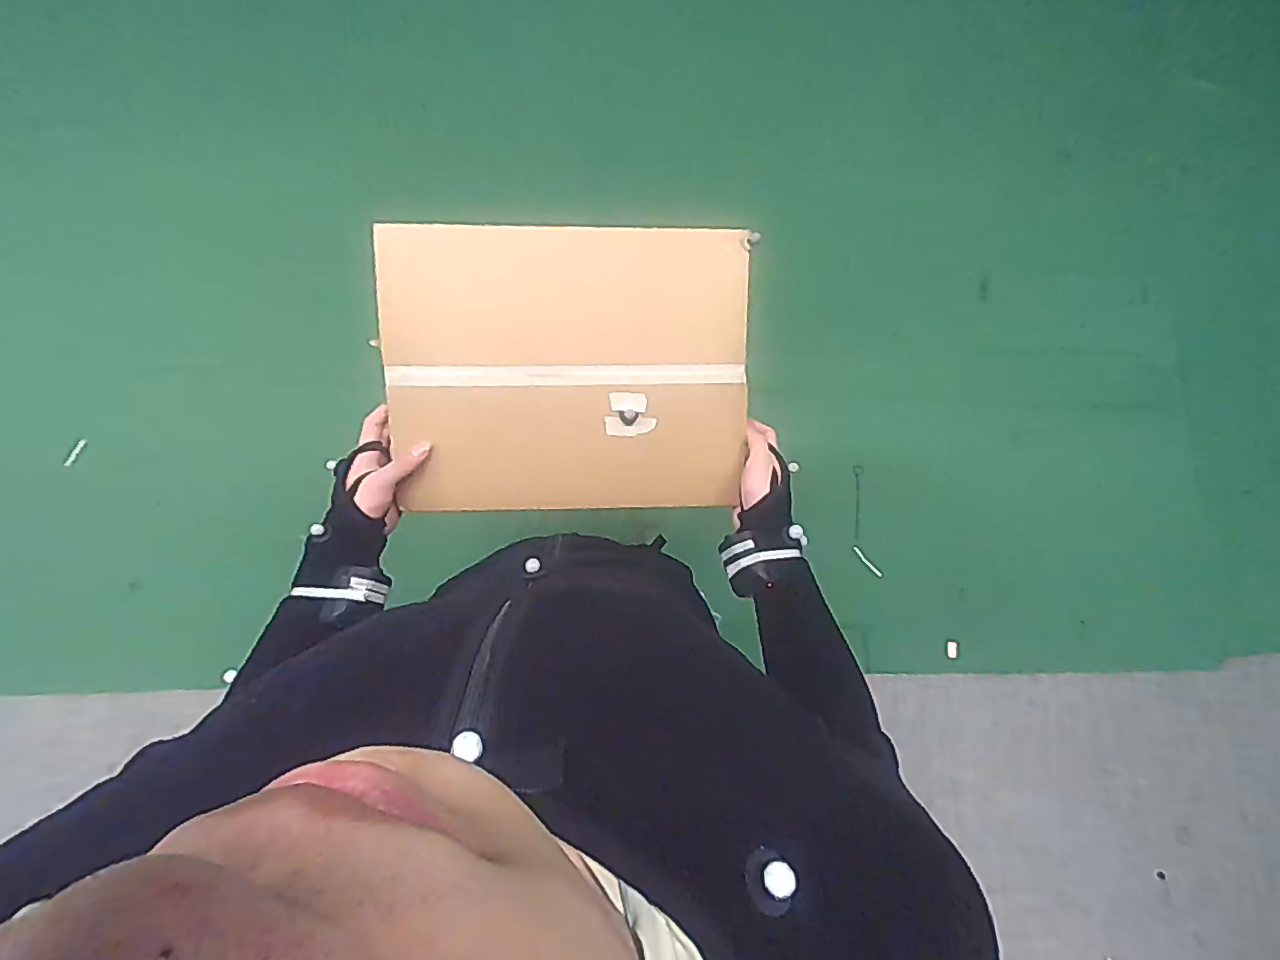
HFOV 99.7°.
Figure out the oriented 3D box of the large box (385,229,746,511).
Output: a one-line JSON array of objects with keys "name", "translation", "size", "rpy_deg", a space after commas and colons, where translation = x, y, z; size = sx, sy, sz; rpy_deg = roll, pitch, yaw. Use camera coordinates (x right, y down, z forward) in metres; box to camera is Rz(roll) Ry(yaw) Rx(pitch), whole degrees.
[{"name": "large box", "translation": [-0.088, -0.147, 0.766], "size": [0.408, 0.320, 0.320], "rpy_deg": [-2, 101, -5]}]
